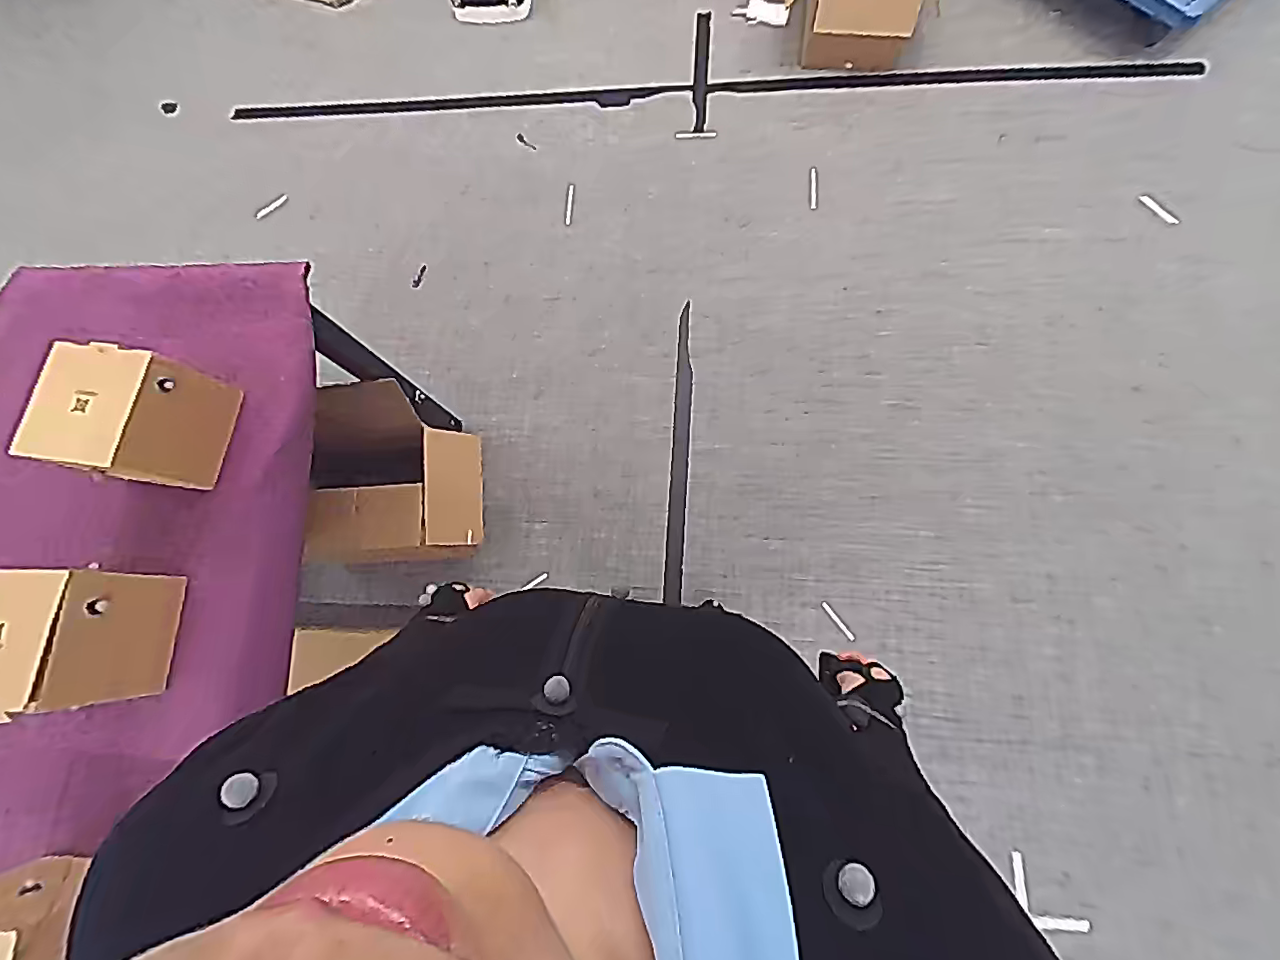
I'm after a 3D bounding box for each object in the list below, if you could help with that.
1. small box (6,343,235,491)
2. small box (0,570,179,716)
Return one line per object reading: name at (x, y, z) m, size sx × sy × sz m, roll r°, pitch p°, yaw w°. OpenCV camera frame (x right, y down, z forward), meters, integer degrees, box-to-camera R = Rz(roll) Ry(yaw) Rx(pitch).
small box at (-0.776, -0.088, 0.831) m, size 0.168 × 0.176 × 0.179 m, roll 7°, pitch 77°, yaw 7°
small box at (-0.805, 0.221, 0.759) m, size 0.168 × 0.176 × 0.179 m, roll -1°, pitch 77°, yaw 7°
